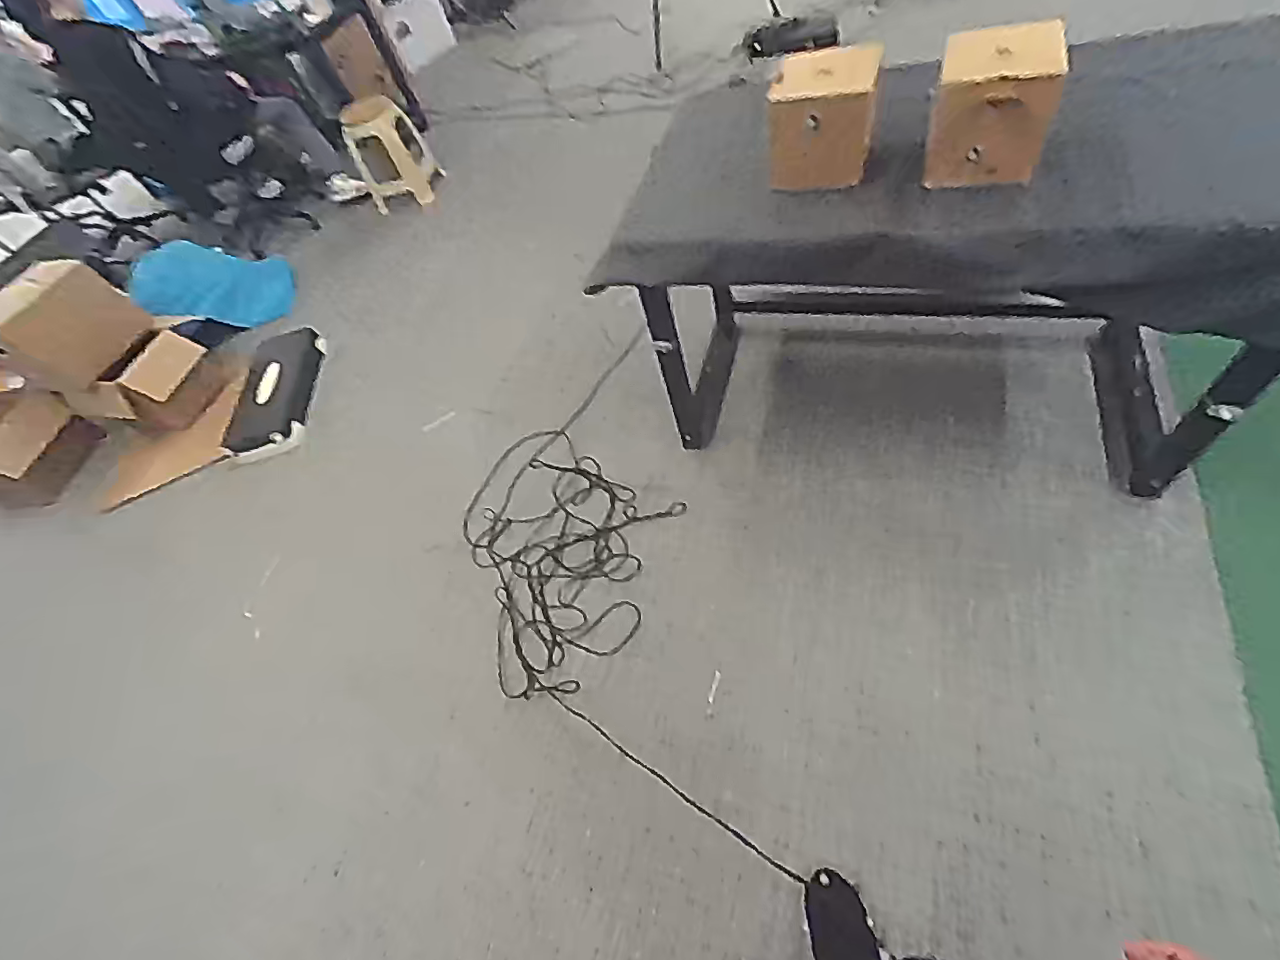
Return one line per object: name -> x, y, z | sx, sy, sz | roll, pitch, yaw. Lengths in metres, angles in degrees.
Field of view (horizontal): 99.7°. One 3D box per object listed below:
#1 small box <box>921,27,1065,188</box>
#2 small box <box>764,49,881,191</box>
small box -> 0.589, -0.625, 0.919 | 0.168, 0.176, 0.179 | 9, 60, 21
small box -> 0.342, -0.669, 1.020 | 0.179, 0.176, 0.168 | 10, 61, 21
